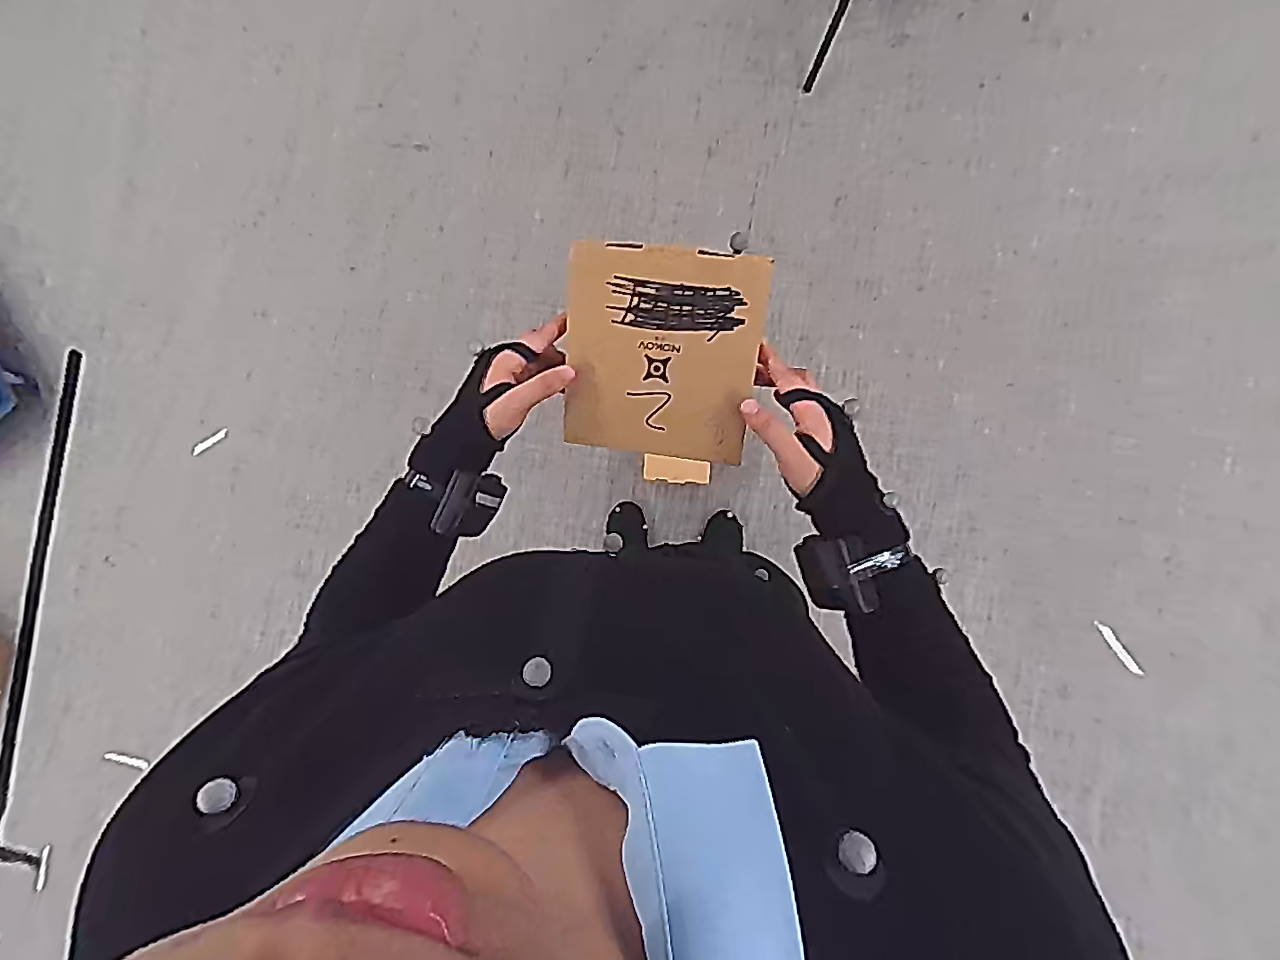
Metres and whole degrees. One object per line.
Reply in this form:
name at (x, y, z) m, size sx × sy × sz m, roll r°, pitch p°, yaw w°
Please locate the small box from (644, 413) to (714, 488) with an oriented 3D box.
small box at (0.103, -0.074, 1.415) m, size 0.168 × 0.176 × 0.179 m, roll 4°, pitch 89°, yaw 6°
